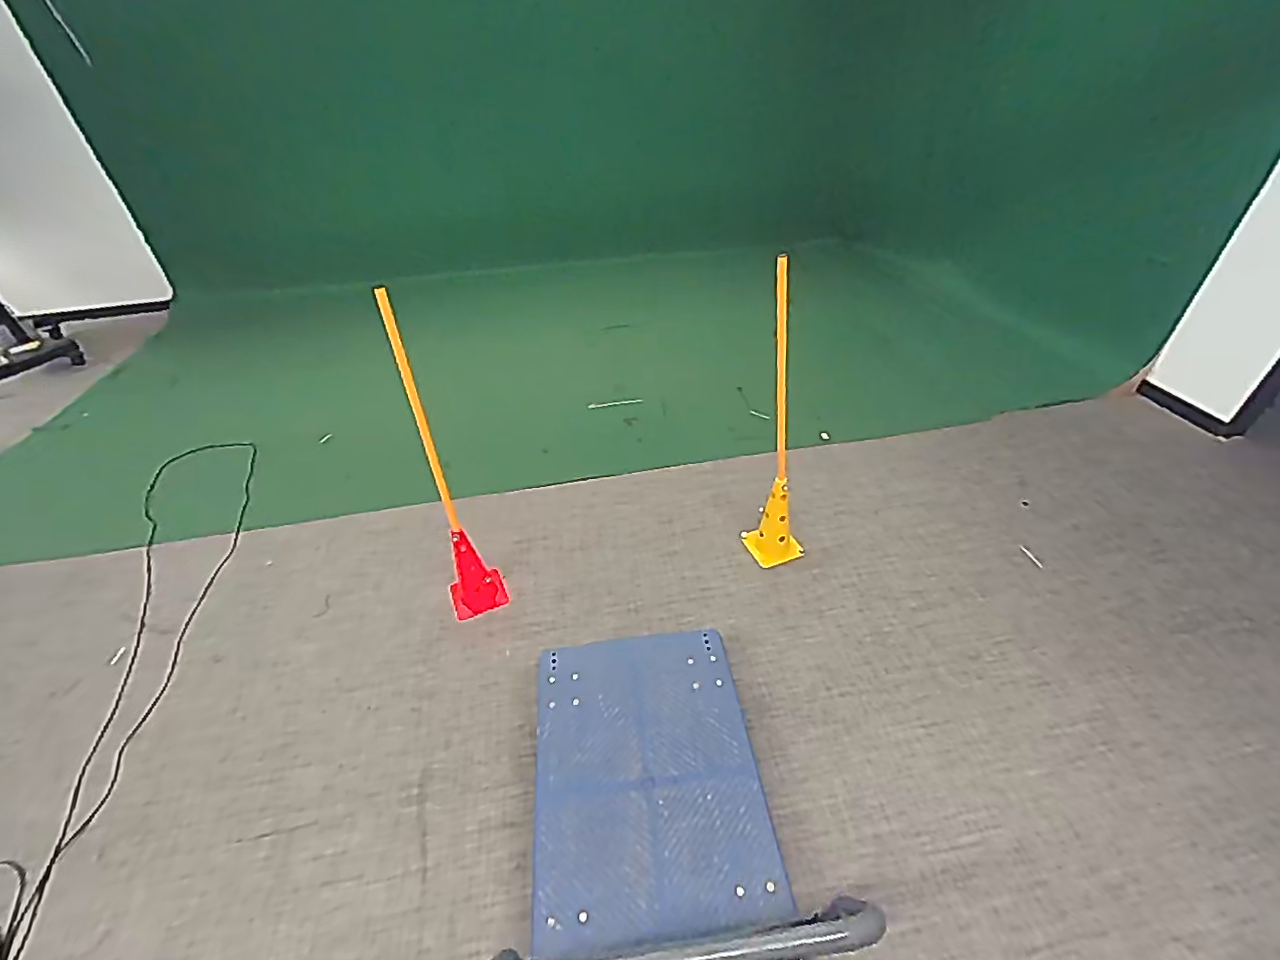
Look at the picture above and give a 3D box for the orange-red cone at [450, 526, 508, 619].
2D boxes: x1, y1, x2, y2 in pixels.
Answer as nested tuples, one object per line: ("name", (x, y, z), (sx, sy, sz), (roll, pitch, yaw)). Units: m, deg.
("orange-red cone", (-0.631, 0.308, 1.980), (0.199, 0.360, 0.198), (-19, 42, -17))
